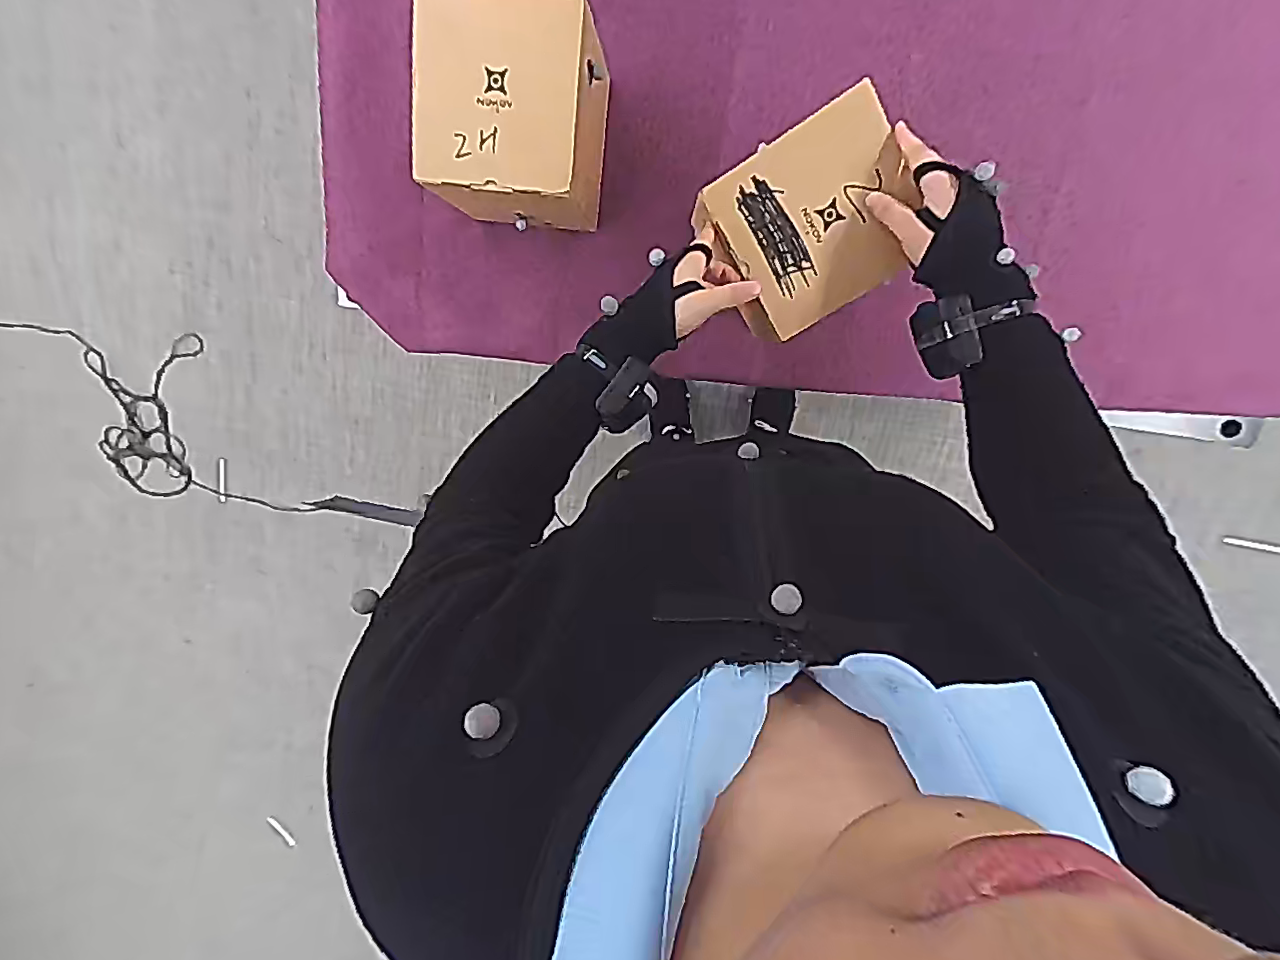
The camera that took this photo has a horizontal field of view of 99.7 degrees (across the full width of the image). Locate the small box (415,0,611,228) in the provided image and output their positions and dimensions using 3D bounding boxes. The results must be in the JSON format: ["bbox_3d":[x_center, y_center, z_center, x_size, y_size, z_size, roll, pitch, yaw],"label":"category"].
[{"bbox_3d":[-0.128,-0.395,0.593,0.168,0.176,0.179,7,104,3],"label":"small box"}]
